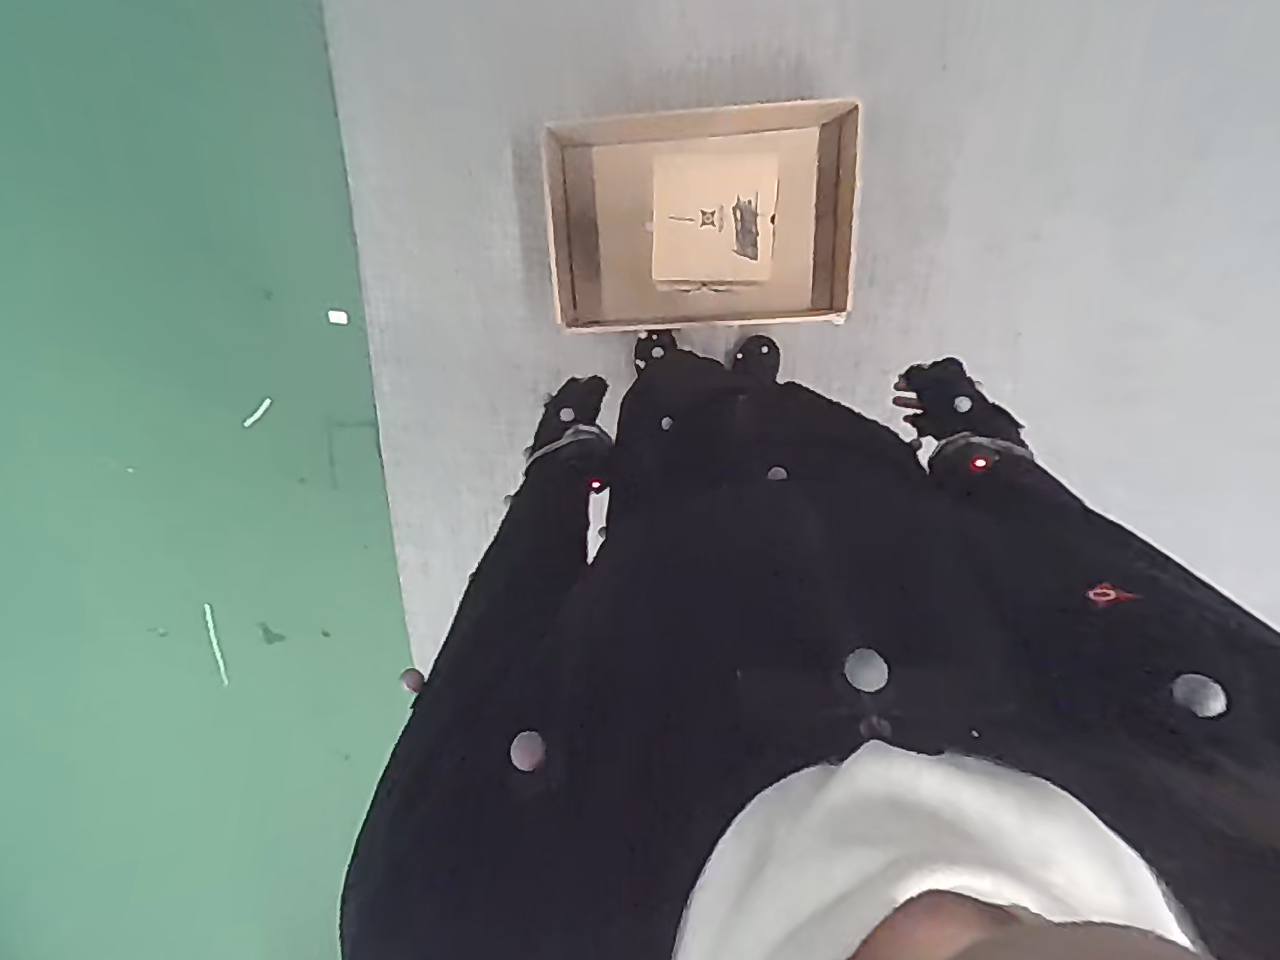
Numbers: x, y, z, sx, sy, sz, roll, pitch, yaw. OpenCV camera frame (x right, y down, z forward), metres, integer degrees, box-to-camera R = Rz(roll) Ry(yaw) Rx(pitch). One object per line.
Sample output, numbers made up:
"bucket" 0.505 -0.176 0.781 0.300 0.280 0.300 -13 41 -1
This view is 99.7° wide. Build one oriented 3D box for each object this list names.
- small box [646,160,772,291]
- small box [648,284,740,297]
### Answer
"small box" 0.102 -0.394 0.860 0.179 0.176 0.168 2 107 4
"small box" 0.104 -0.434 1.003 0.168 0.176 0.179 2 108 3
